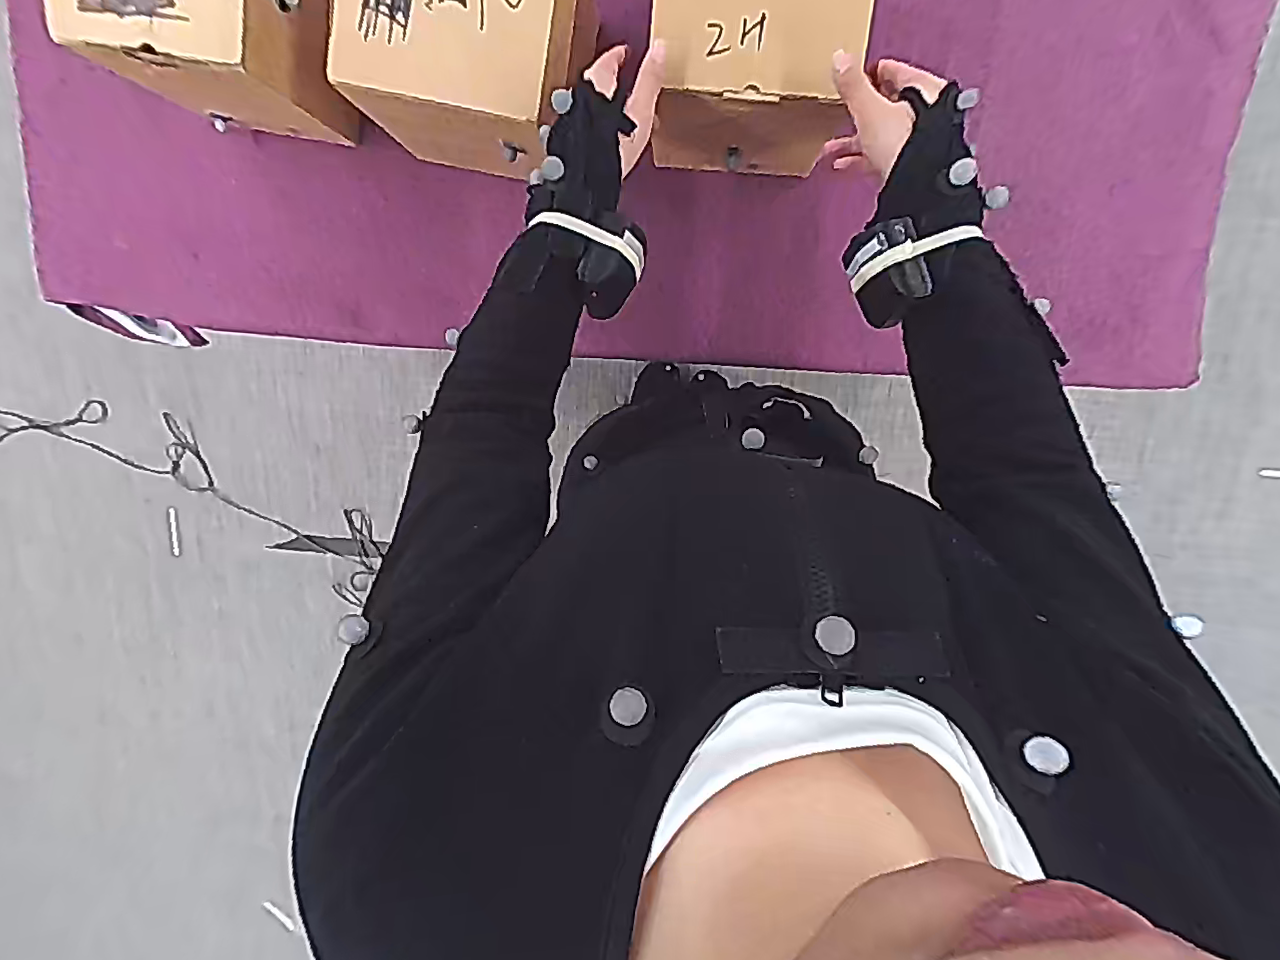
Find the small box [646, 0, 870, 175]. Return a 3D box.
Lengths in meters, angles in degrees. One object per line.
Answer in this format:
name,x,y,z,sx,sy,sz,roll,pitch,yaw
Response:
small box,0.097,-0.401,0.480,0.168,0.176,0.179,6,102,3

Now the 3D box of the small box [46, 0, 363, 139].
small box,-0.379,-0.446,0.496,0.168,0.176,0.179,10,102,1
